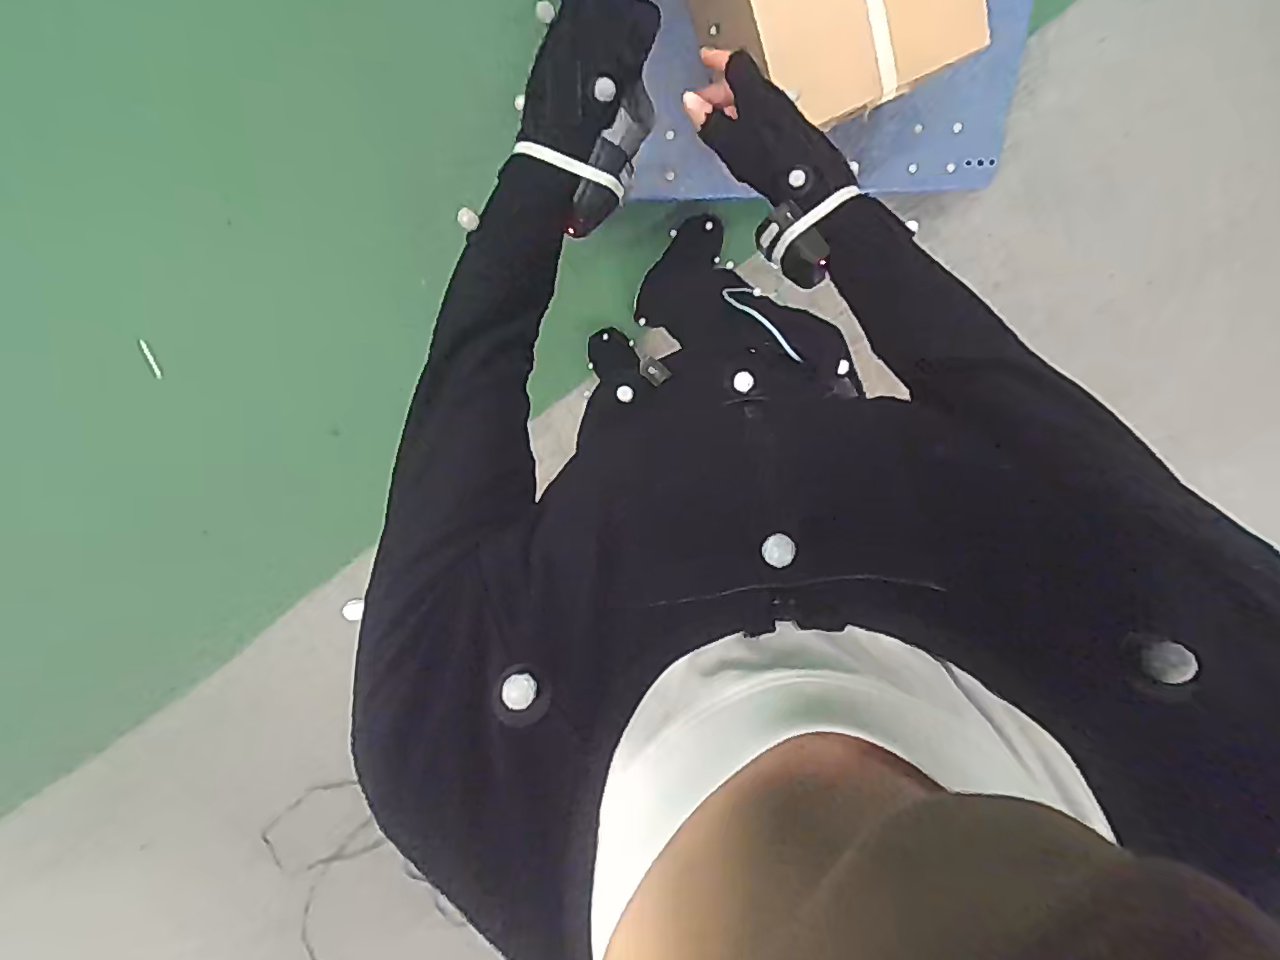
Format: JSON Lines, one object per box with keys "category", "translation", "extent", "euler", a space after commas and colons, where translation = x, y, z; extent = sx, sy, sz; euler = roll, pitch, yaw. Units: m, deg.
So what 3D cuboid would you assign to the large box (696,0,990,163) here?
{"category": "large box", "translation": [0.277, -0.795, 0.851], "extent": [0.320, 0.320, 0.408], "euler": [-22, 112, 5]}
